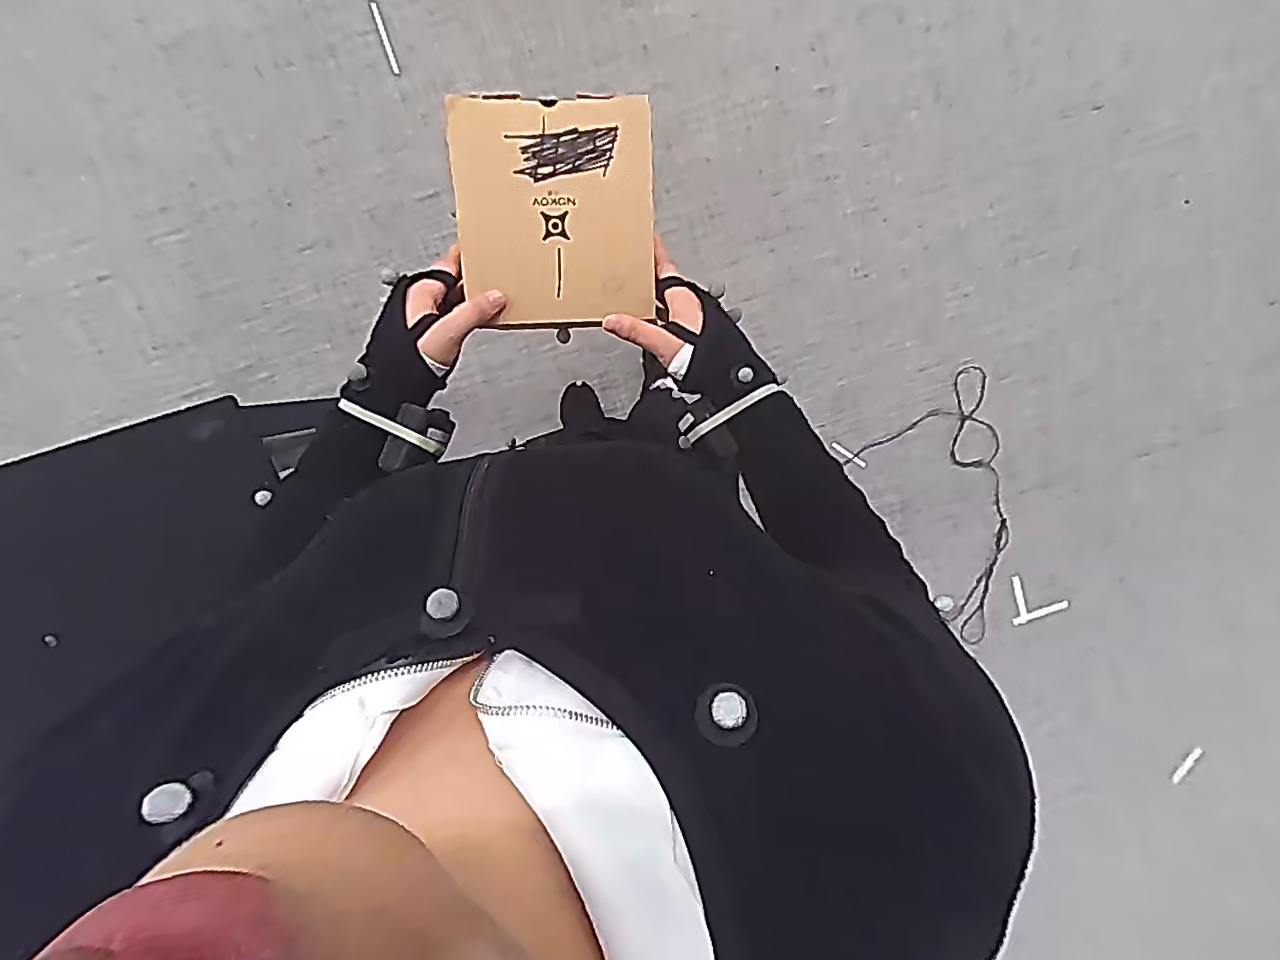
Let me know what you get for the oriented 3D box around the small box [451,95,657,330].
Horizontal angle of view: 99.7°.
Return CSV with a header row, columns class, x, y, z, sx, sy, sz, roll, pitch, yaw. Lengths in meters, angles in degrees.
class,x,y,z,sx,sy,sz,roll,pitch,yaw
small box,-0.076,-0.242,0.529,0.168,0.176,0.179,-3,105,-4
